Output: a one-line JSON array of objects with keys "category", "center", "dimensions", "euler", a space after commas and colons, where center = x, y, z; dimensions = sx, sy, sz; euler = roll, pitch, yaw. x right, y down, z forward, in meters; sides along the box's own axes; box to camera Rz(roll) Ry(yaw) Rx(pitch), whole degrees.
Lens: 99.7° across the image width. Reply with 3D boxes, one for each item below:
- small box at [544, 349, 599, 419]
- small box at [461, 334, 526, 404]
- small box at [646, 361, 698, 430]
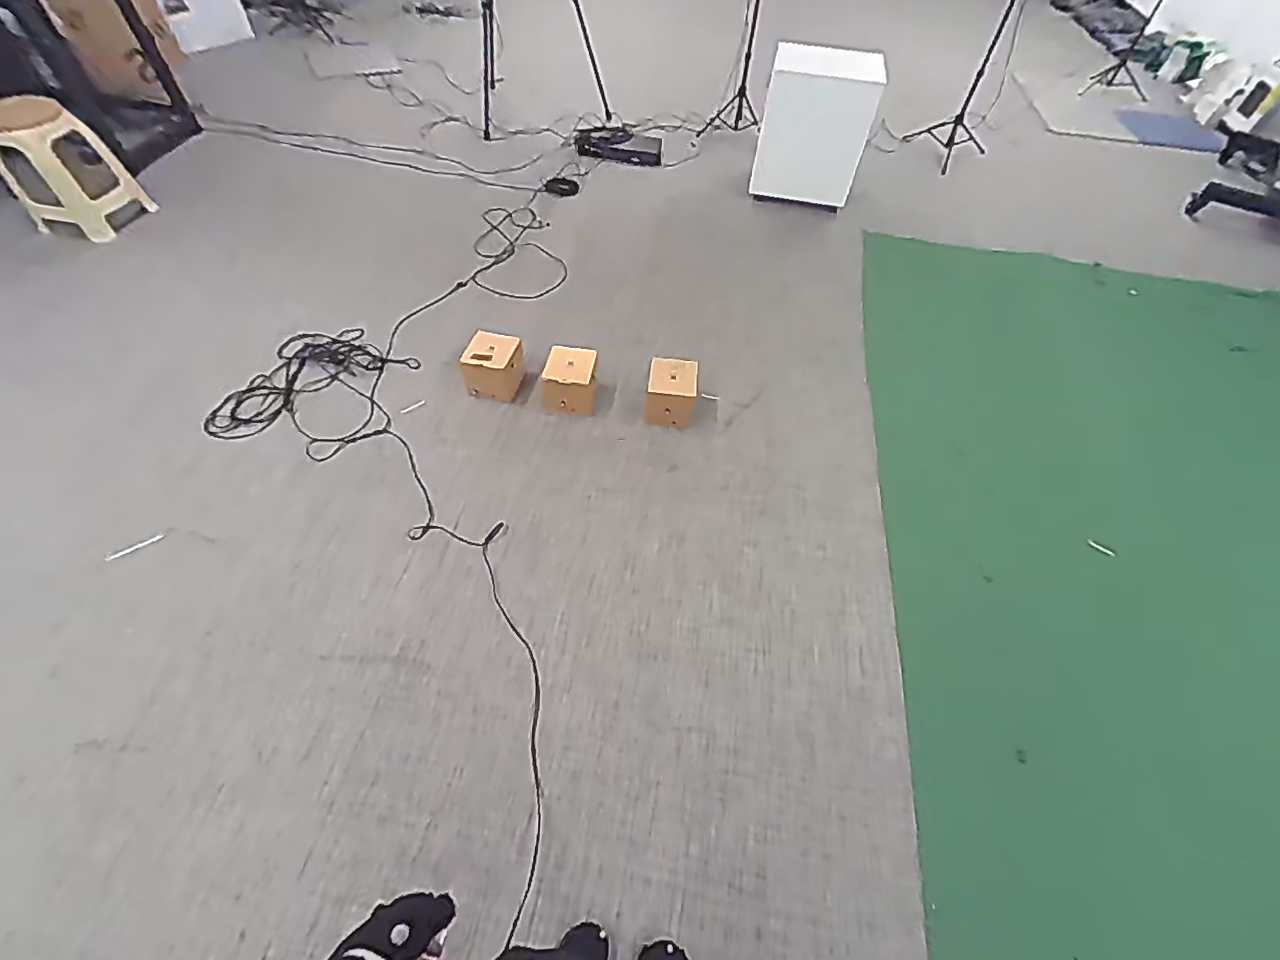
[{"category": "small box", "center": [-0.244, -0.347, 1.962], "dimensions": [0.168, 0.176, 0.179], "euler": [8, 55, 3]}, {"category": "small box", "center": [-0.529, -0.404, 1.986], "dimensions": [0.168, 0.176, 0.179], "euler": [12, 53, 6]}, {"category": "small box", "center": [0.112, -0.302, 1.947], "dimensions": [0.168, 0.176, 0.179], "euler": [7, 54, 1]}]
